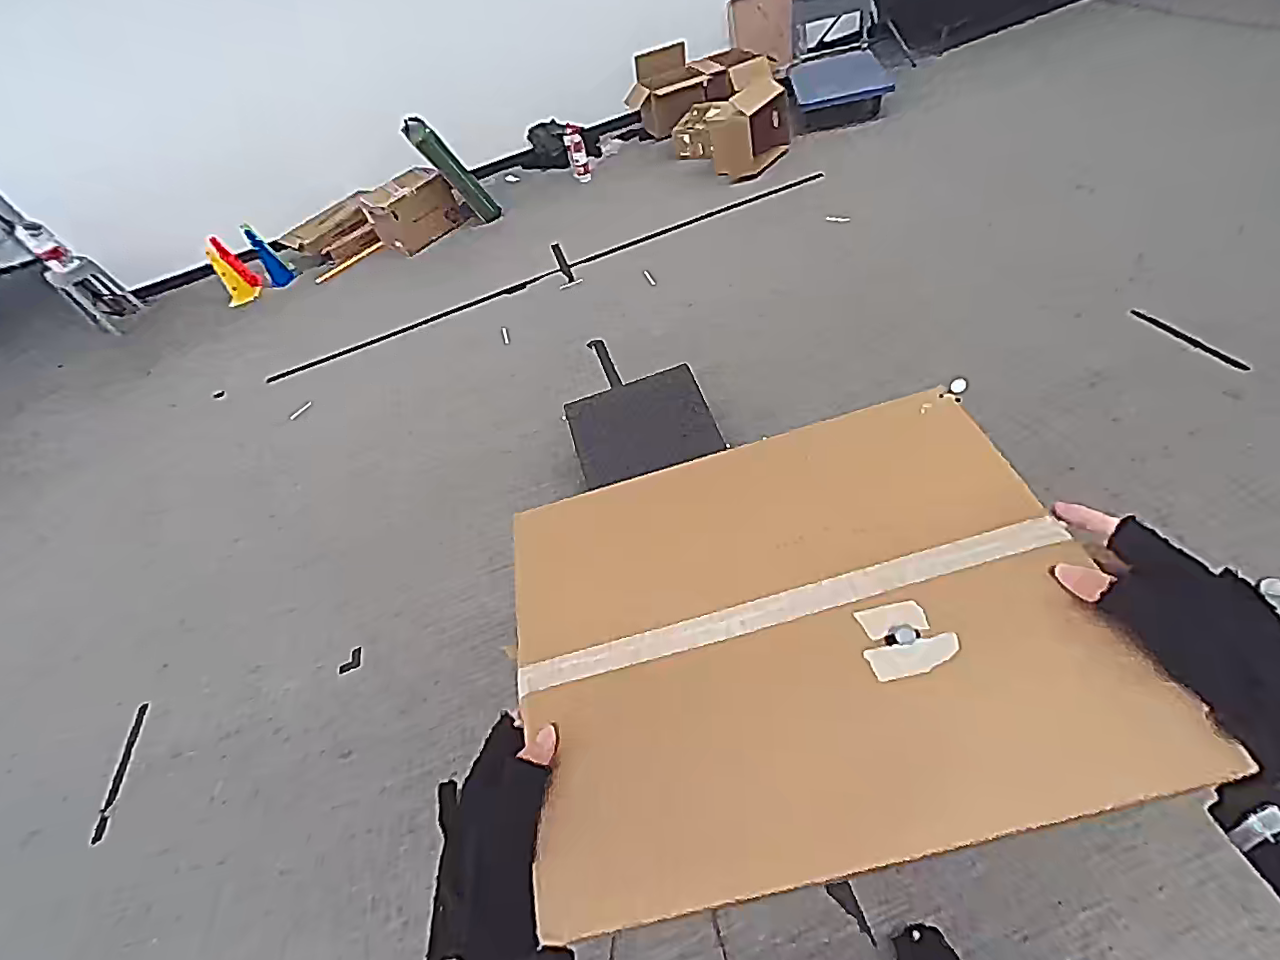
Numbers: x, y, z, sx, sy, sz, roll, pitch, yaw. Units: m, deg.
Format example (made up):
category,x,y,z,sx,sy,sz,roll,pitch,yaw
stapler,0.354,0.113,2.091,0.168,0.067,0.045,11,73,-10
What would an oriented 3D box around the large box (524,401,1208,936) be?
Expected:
category,x,y,z,sx,sy,sz,roll,pitch,yaw
large box,0.141,0.188,0.525,0.408,0.320,0.320,-17,52,3
